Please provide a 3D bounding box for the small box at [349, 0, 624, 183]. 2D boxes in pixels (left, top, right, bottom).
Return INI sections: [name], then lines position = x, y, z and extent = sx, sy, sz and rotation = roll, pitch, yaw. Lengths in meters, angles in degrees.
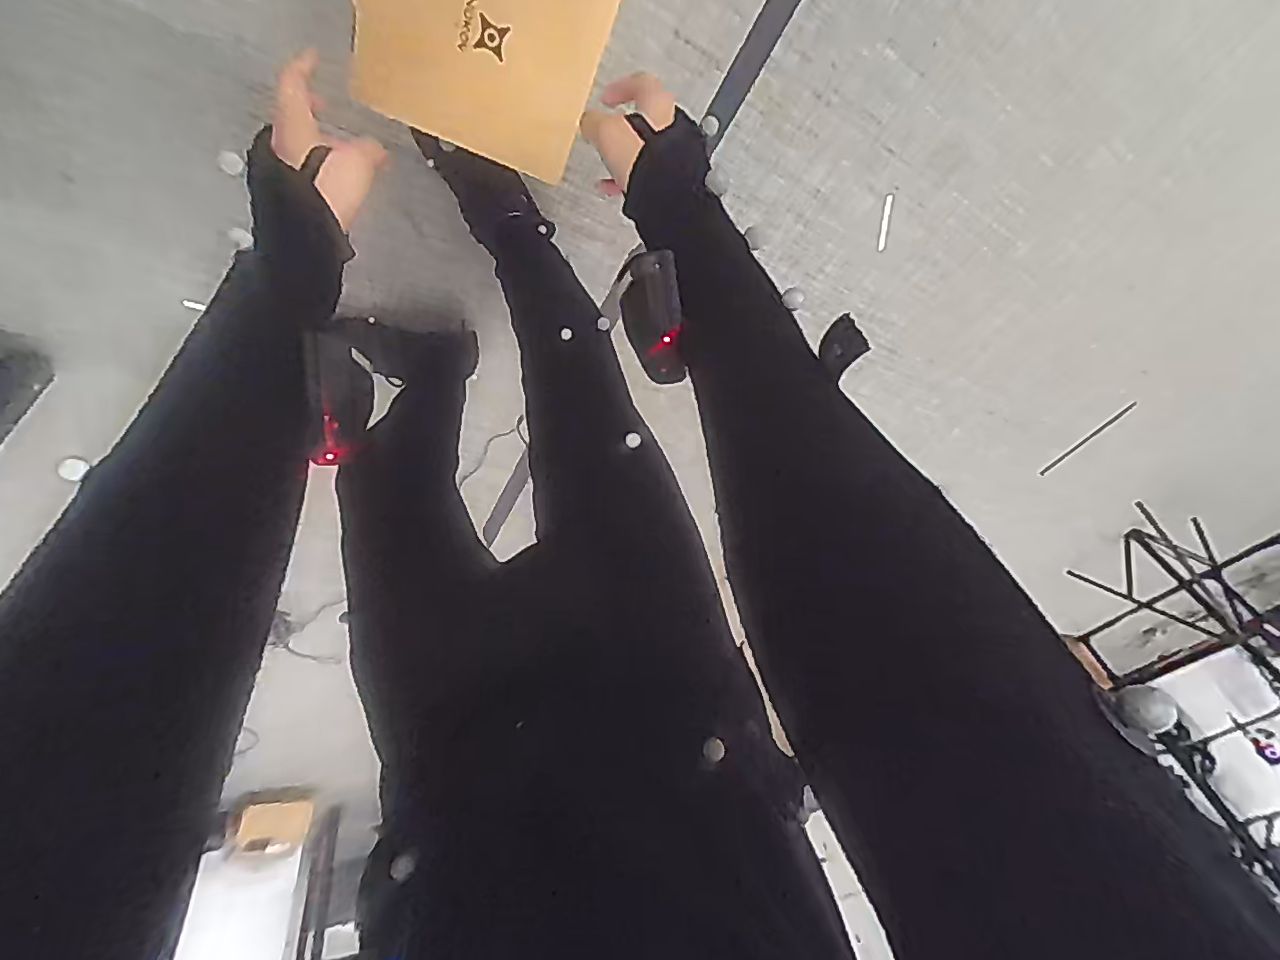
[small box]
position = -0.132, -0.394, 0.457
extent = 0.179, 0.176, 0.168
rotation = 9, 134, -26
